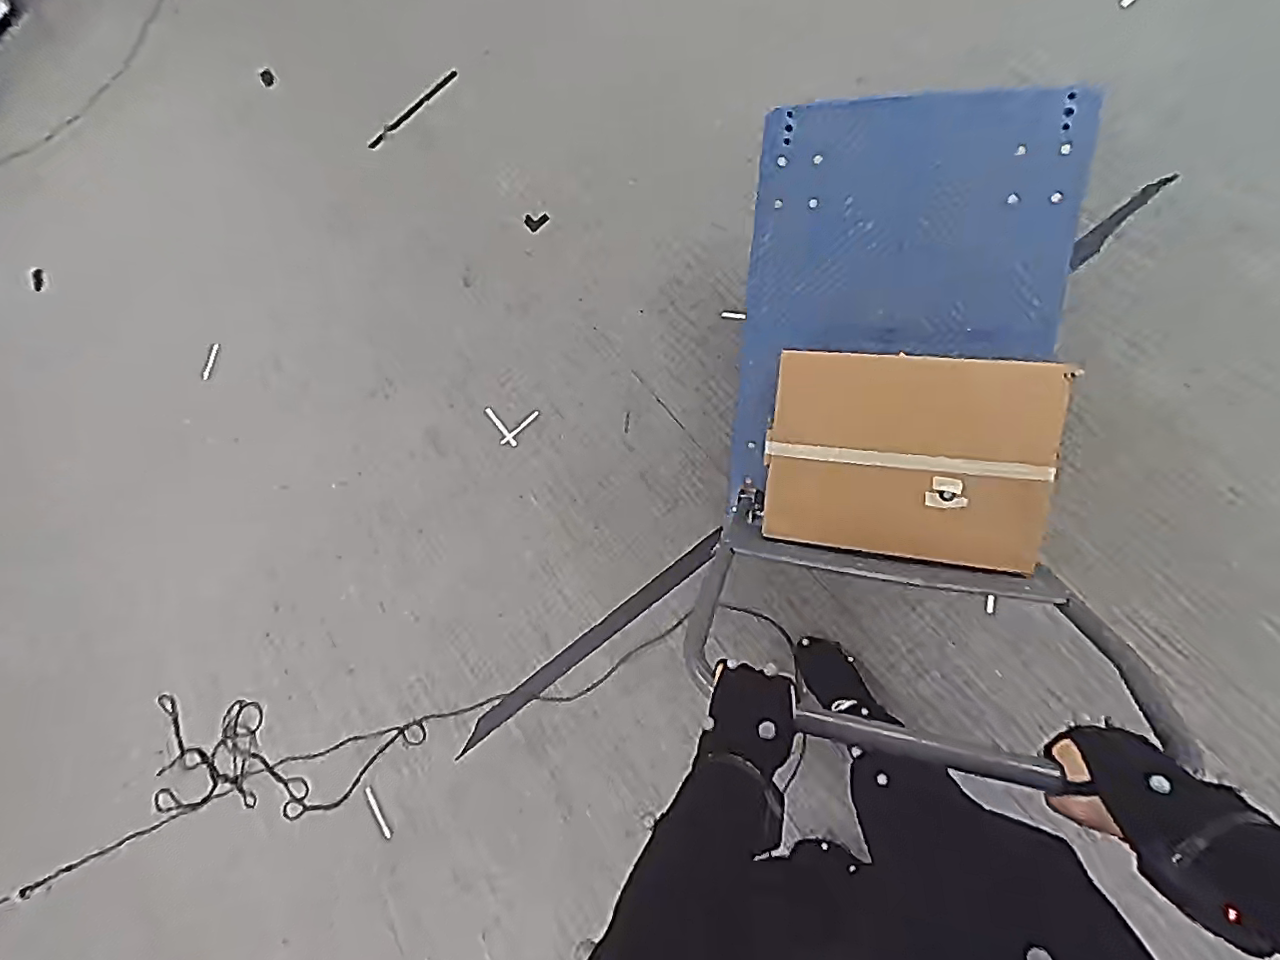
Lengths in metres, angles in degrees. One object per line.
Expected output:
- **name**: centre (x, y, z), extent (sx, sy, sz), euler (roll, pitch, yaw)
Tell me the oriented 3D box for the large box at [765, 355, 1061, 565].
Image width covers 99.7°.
- **large box**: centre (0.451, -0.057, 0.999), extent (0.408, 0.320, 0.320), euler (6, 101, 15)
